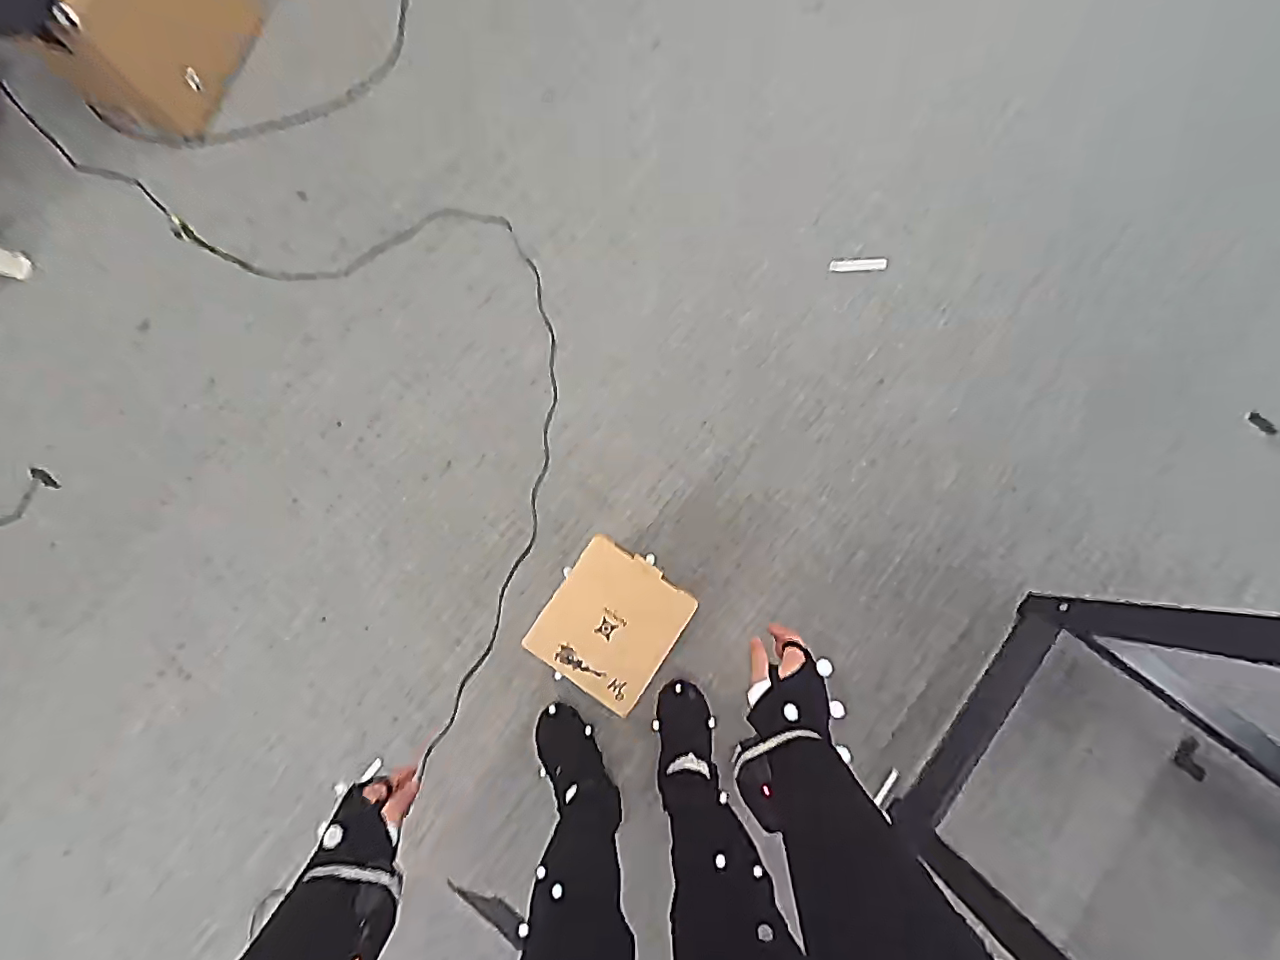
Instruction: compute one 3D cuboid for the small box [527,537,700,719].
[{"bbox_3d":[-0.036,0.202,0.780,0.168,0.176,0.179,34,82,6],"label":"small box"}]
